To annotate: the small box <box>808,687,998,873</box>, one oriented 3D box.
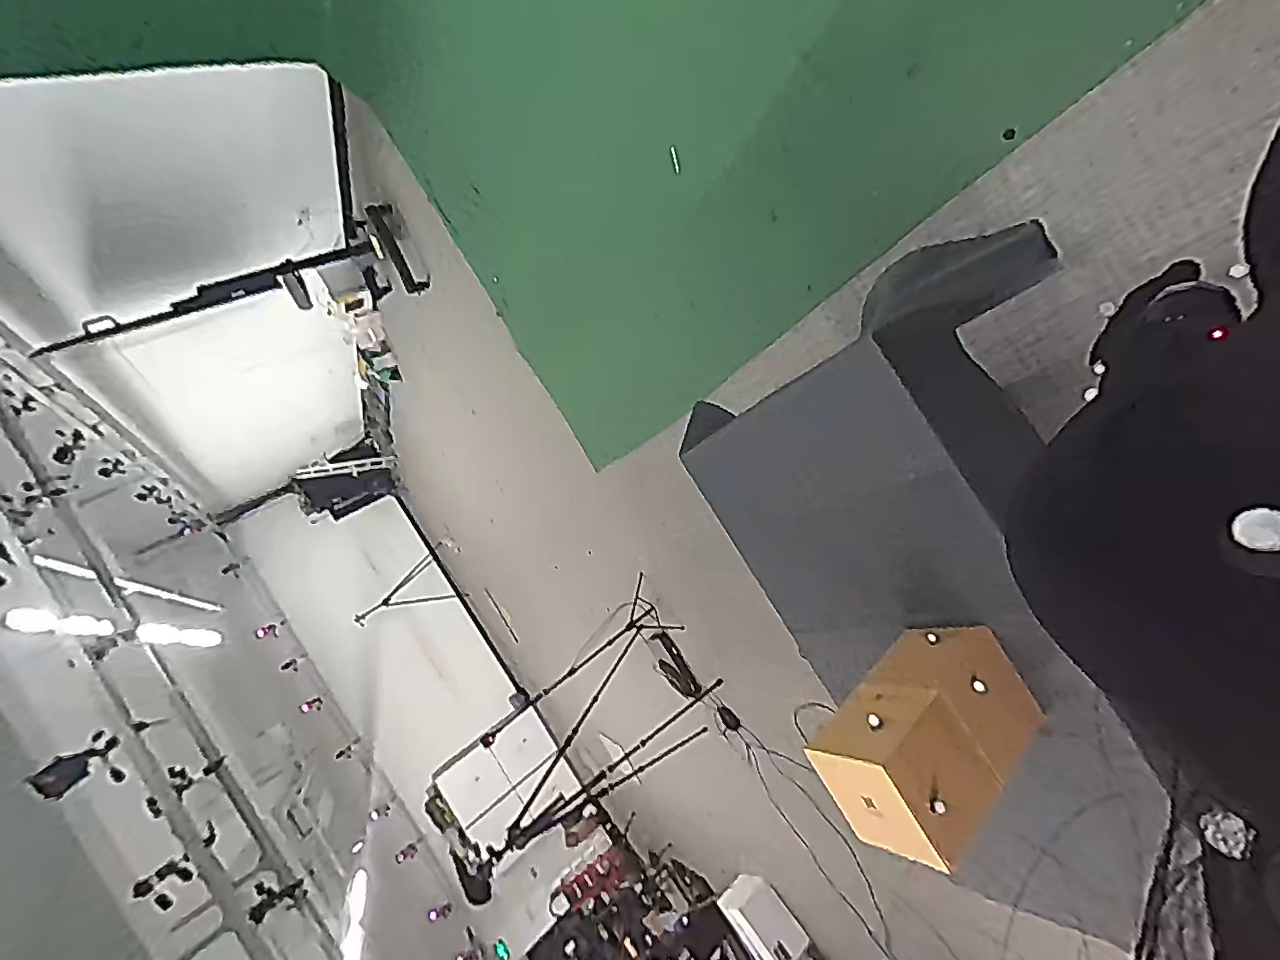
[{"bbox_3d":[0.407,0.446,0.842,0.179,0.176,0.168,58,150,2],"label":"small box"}]
